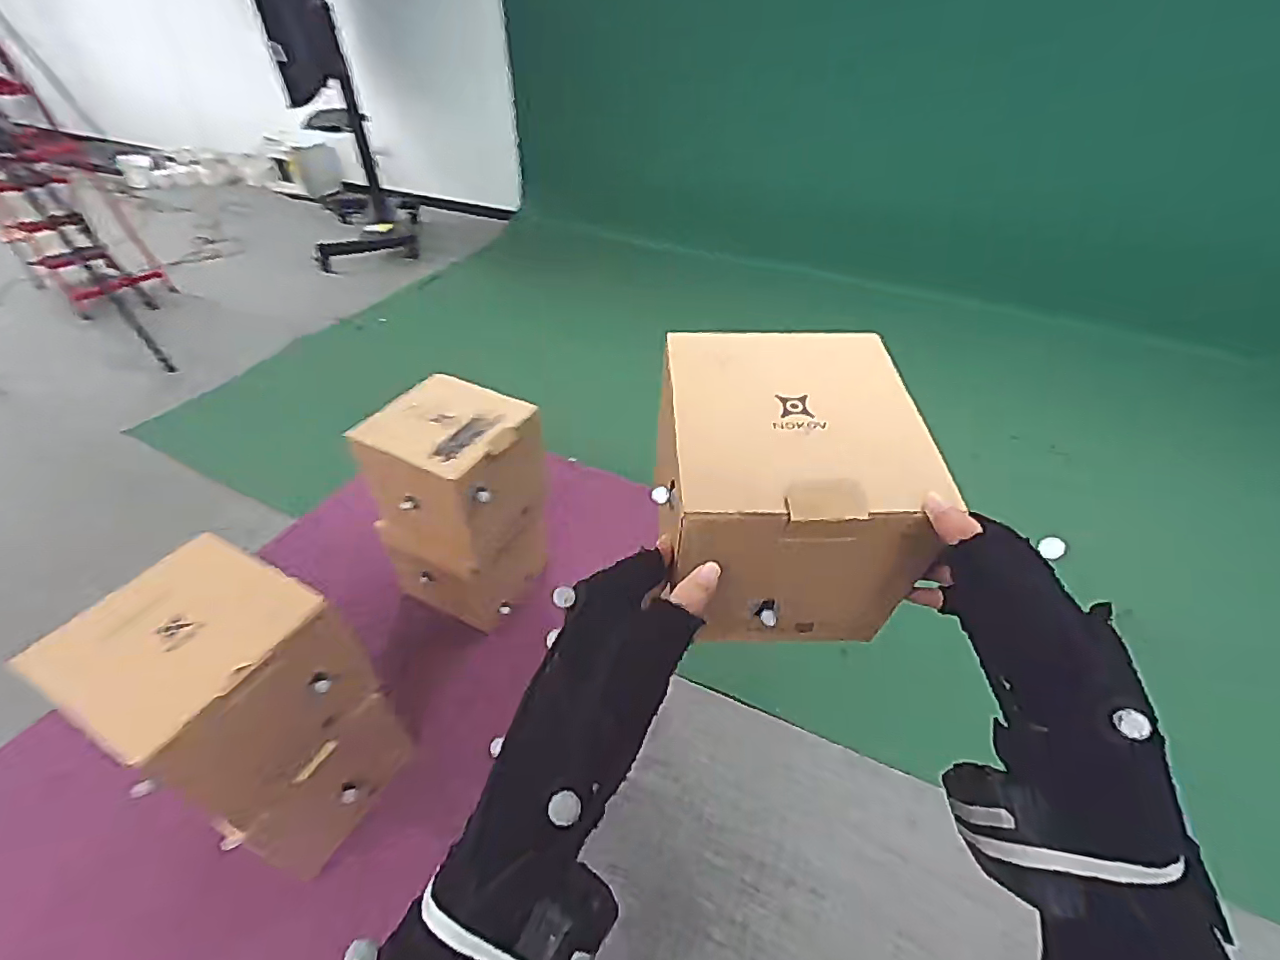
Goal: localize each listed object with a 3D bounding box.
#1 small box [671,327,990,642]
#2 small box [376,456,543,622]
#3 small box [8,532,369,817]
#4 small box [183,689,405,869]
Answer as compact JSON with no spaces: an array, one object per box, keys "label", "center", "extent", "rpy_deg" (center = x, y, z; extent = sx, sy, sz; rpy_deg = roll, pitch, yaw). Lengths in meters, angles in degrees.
[{"label":"small box","center":[0.113,0.006,0.415],"extent":[0.168,0.176,0.179],"rpy_deg":[1,51,-1]},{"label":"small box","center":[-0.269,0.096,0.851],"extent":[0.179,0.176,0.168],"rpy_deg":[22,45,19]},{"label":"small box","center":[-0.399,0.187,0.515],"extent":[0.179,0.176,0.168],"rpy_deg":[21,46,18]},{"label":"small box","center":[-0.405,0.310,0.622],"extent":[0.179,0.176,0.168],"rpy_deg":[22,46,19]}]
